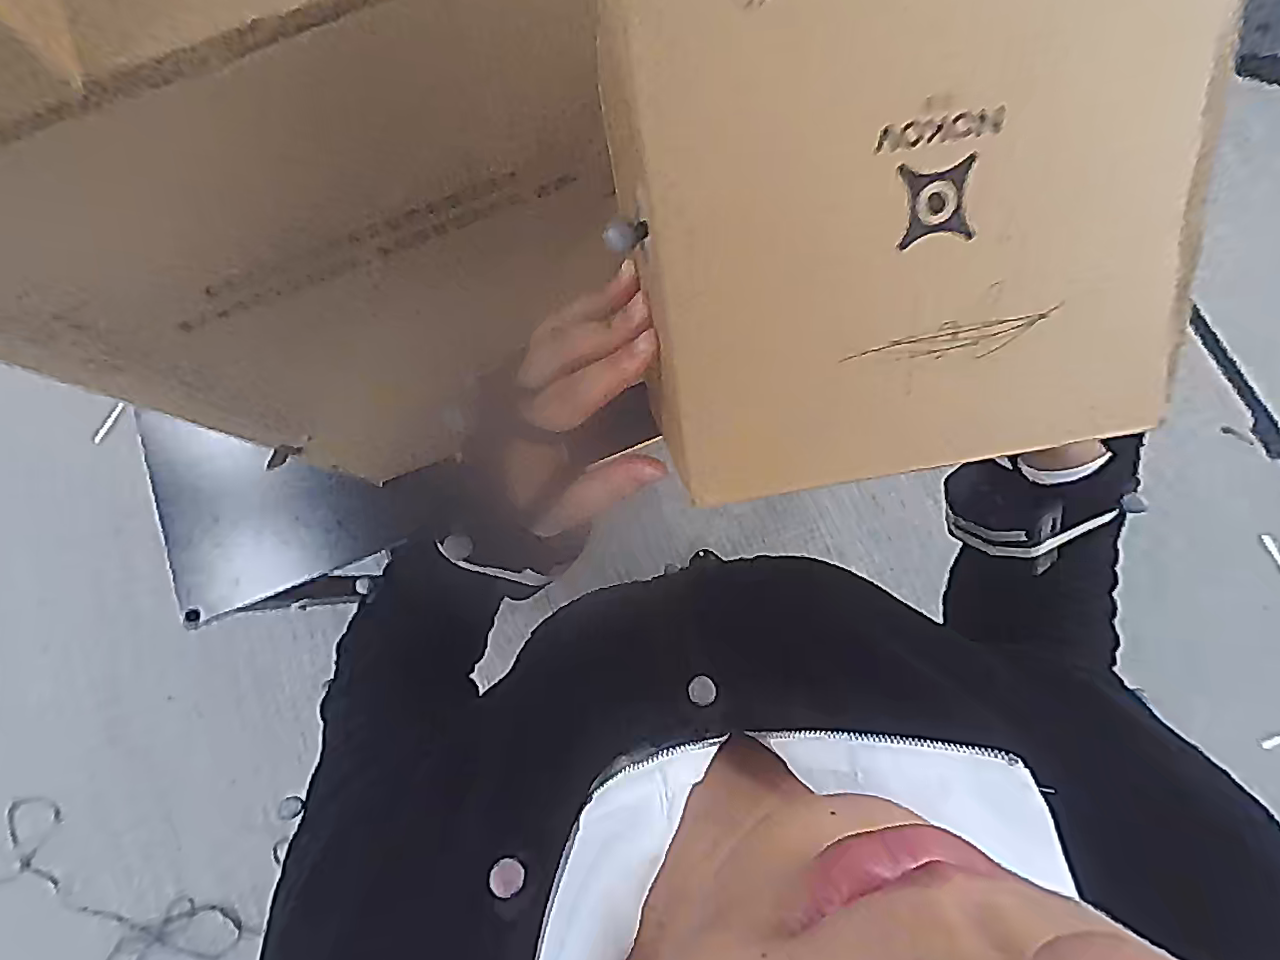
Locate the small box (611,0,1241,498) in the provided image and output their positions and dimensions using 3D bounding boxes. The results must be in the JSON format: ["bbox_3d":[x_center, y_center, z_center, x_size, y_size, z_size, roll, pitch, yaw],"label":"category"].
[{"bbox_3d":[0.080,-0.112,0.233,0.168,0.176,0.179,-9,110,0],"label":"small box"}]
